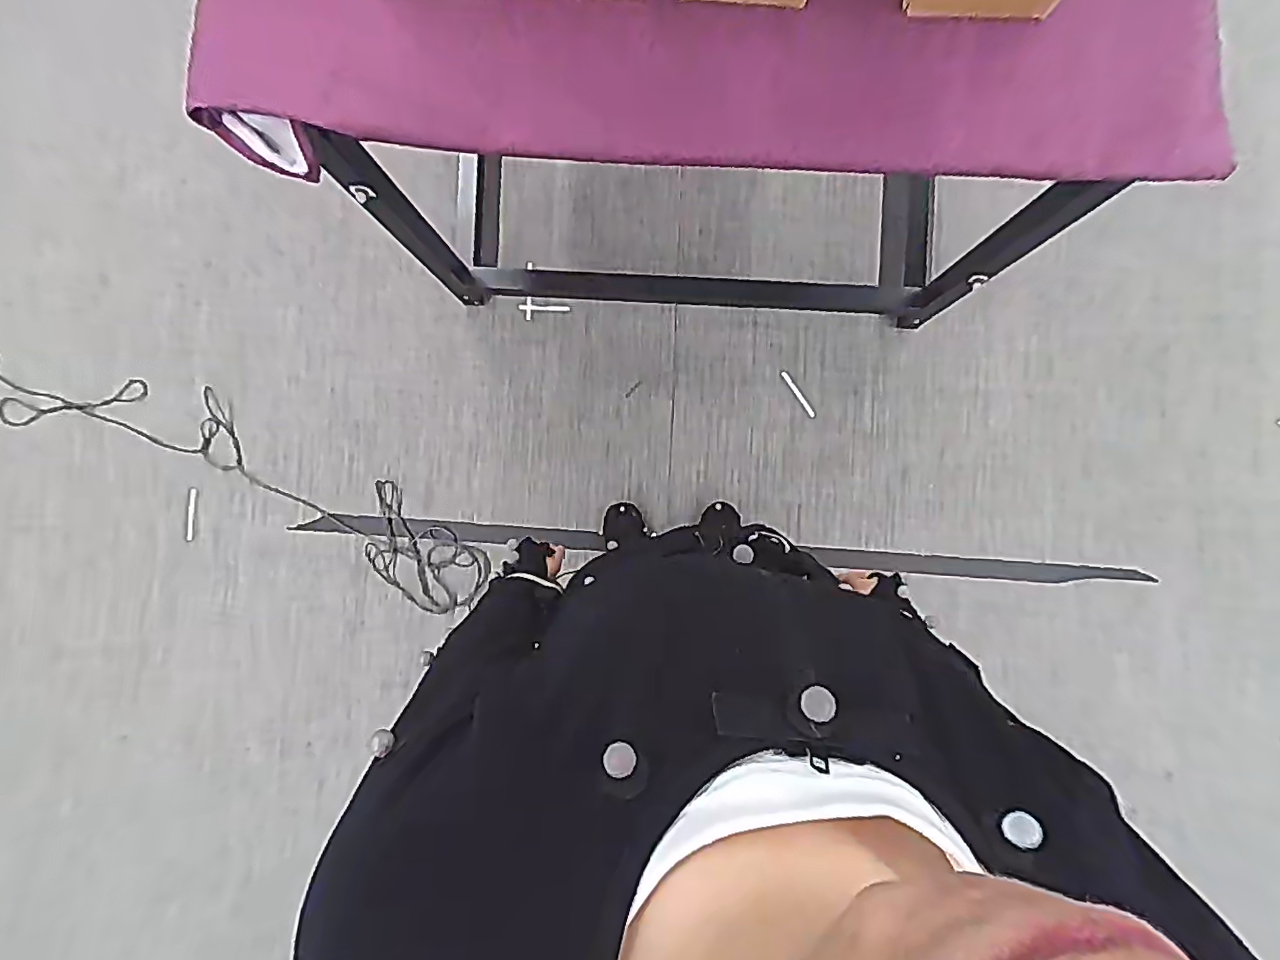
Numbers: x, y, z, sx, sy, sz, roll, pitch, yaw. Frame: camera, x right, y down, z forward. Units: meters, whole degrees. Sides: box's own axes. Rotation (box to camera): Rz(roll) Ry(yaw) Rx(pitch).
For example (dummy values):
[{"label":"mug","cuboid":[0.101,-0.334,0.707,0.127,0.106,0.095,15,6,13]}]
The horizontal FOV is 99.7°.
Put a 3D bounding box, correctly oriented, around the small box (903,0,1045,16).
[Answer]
[{"label":"small box","cuboid":[0.418,-0.661,0.597,0.179,0.176,0.168,3,87,2]}]
